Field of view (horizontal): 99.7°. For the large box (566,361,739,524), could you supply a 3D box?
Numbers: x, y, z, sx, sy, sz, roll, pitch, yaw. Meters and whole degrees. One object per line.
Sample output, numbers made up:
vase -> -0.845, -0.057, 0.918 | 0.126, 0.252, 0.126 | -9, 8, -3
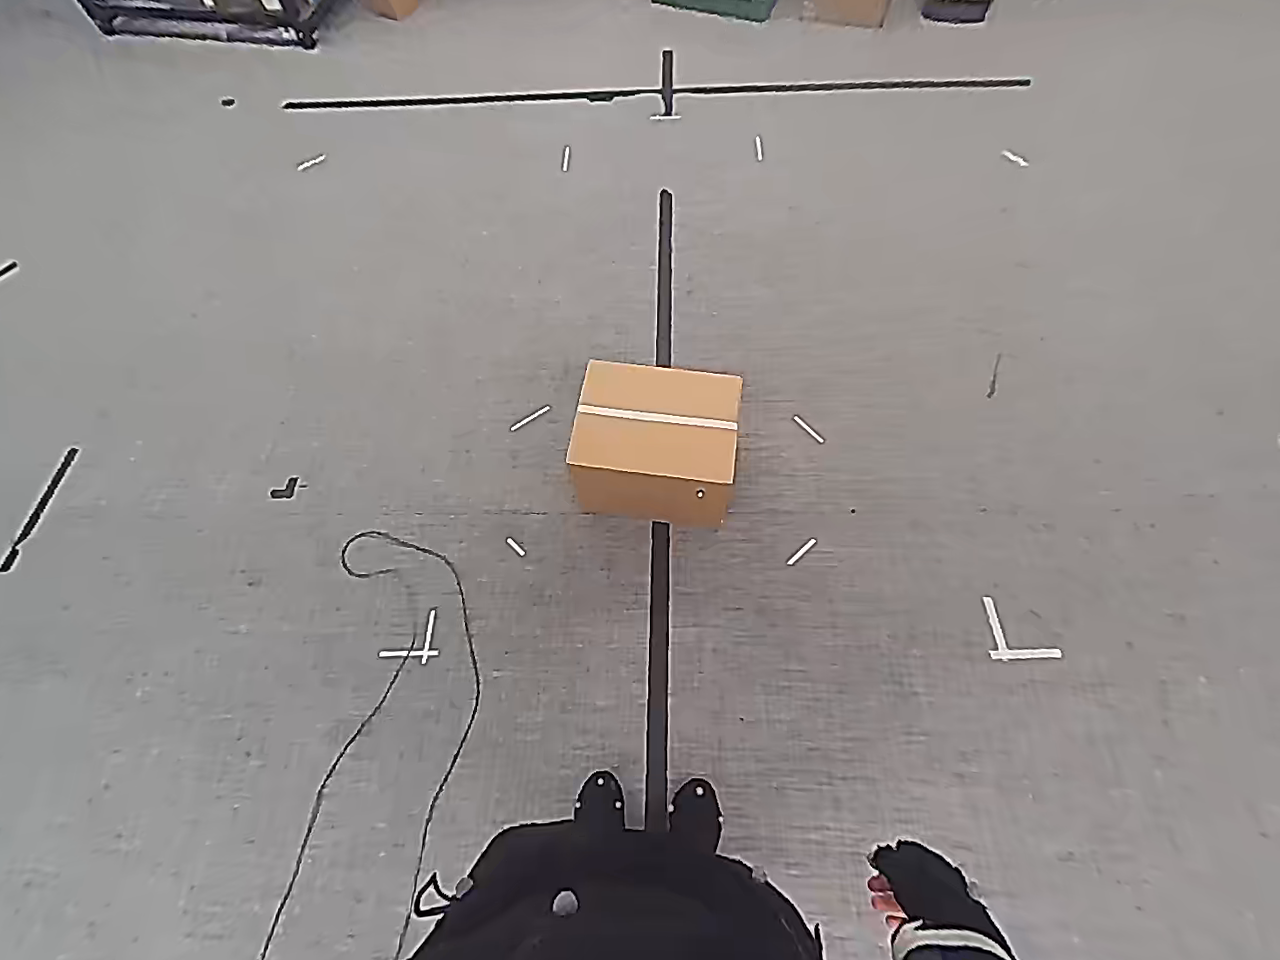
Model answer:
large box -> 0.044, -0.090, 1.474 | 0.408, 0.320, 0.320 | 8, 65, 4
